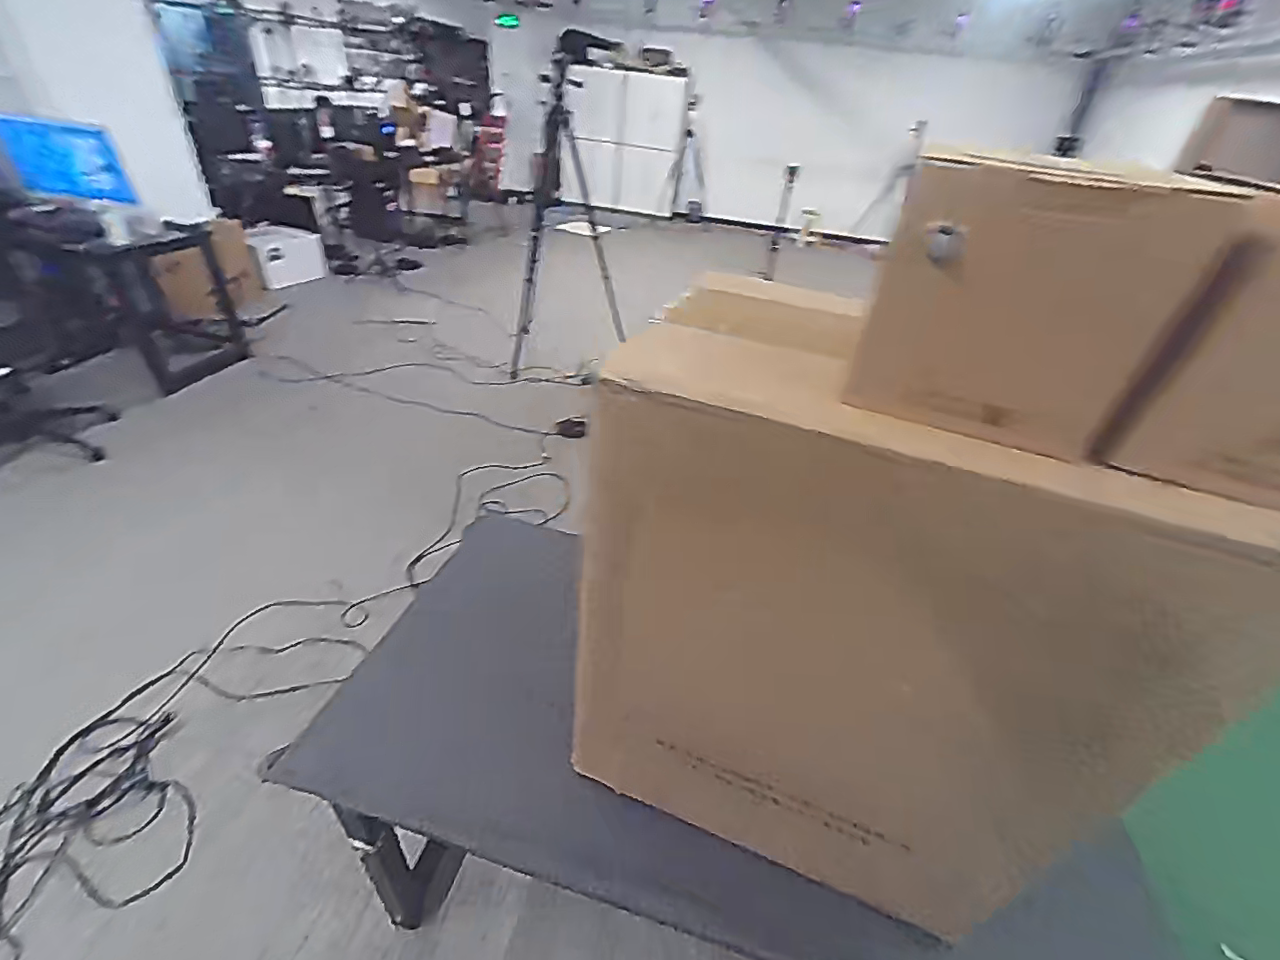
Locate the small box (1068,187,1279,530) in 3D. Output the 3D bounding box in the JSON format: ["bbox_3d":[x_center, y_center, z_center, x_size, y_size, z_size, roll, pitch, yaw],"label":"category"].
[{"bbox_3d":[0.440,-0.080,0.366,0.168,0.176,0.179,18,38,12],"label":"small box"}]
